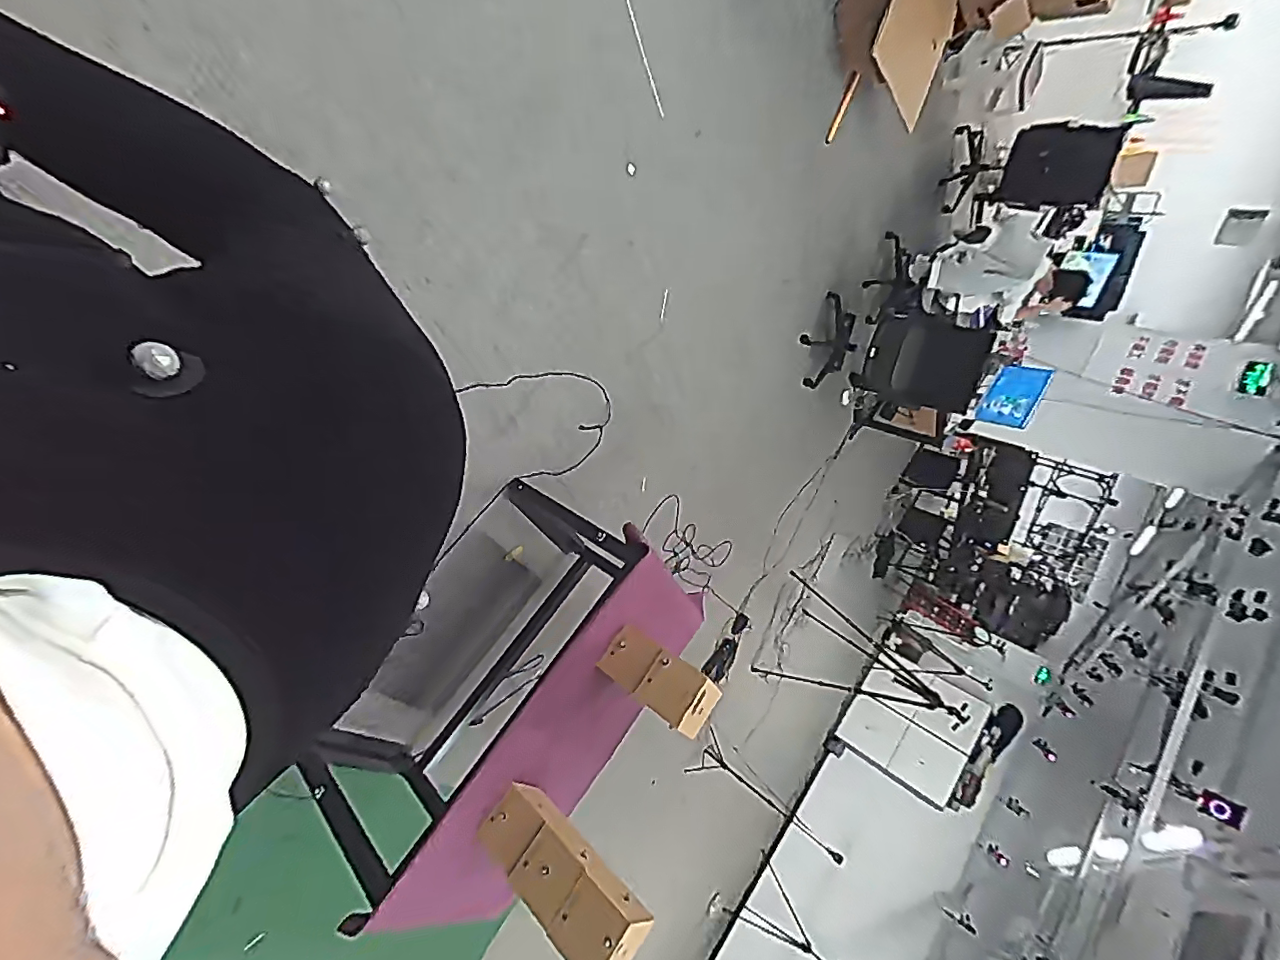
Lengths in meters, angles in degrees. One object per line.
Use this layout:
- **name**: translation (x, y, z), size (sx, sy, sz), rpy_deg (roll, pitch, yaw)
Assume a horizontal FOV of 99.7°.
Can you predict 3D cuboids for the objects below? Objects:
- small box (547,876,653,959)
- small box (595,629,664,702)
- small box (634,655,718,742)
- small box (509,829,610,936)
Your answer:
- **small box**: translation (-0.100, 1.140, 1.365), size (0.168, 0.176, 0.179), rpy_deg (-54, 144, -16)
- **small box**: translation (-0.011, 0.603, 1.726), size (0.168, 0.176, 0.179), rpy_deg (-53, 142, -17)
- **small box**: translation (0.108, 0.652, 1.624), size (0.168, 0.176, 0.179), rpy_deg (-53, 144, -17)
- **small box**: translation (-0.219, 1.081, 1.462), size (0.168, 0.176, 0.179), rpy_deg (-52, 142, -17)
